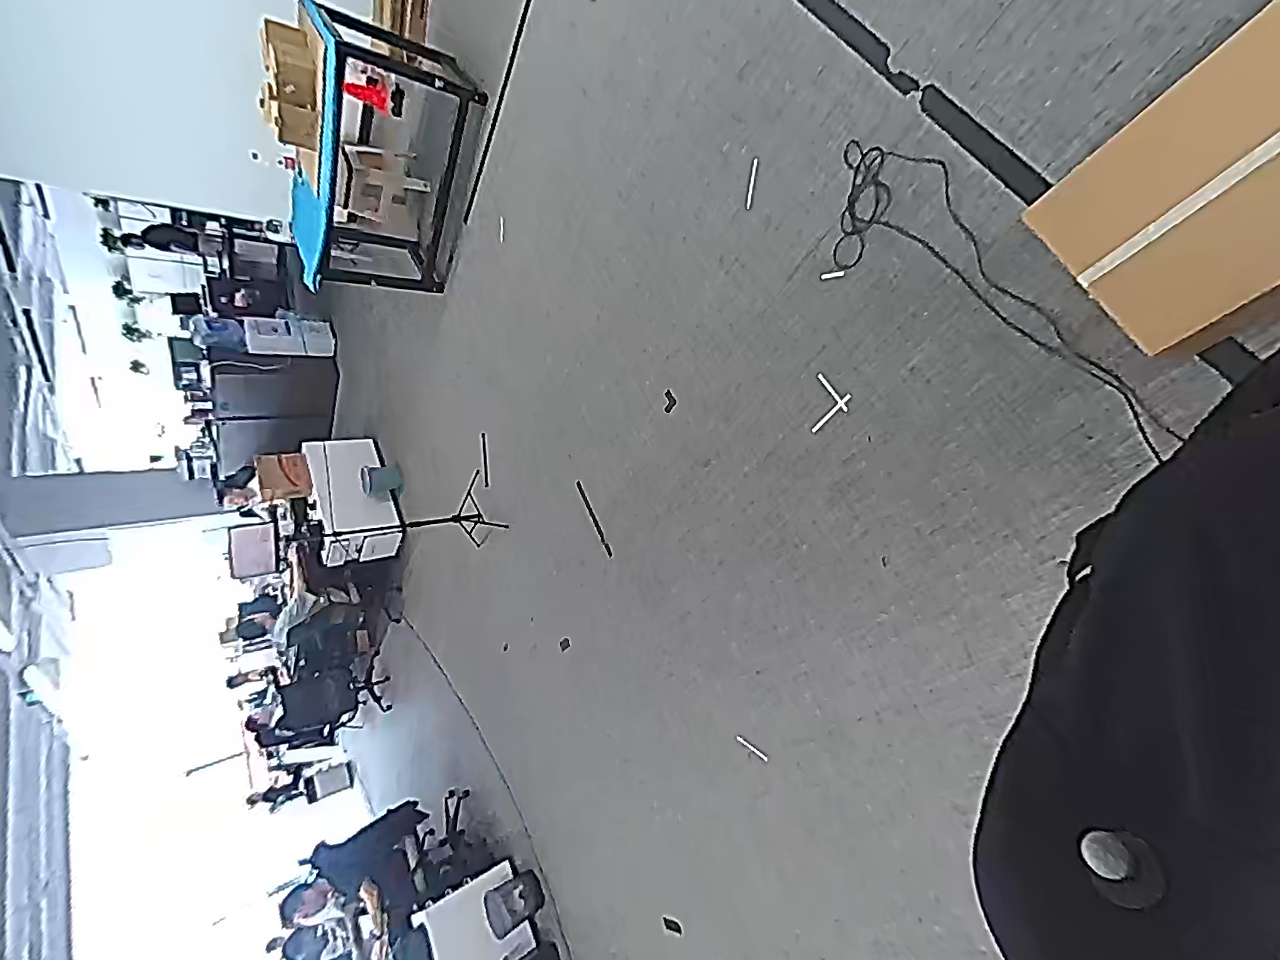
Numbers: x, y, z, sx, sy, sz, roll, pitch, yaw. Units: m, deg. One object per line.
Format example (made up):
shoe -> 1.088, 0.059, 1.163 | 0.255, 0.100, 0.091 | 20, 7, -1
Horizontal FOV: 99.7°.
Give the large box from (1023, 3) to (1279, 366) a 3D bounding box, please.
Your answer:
large box -> 0.924, -0.423, 0.829 | 0.408, 0.320, 0.320 | -45, 61, 43
